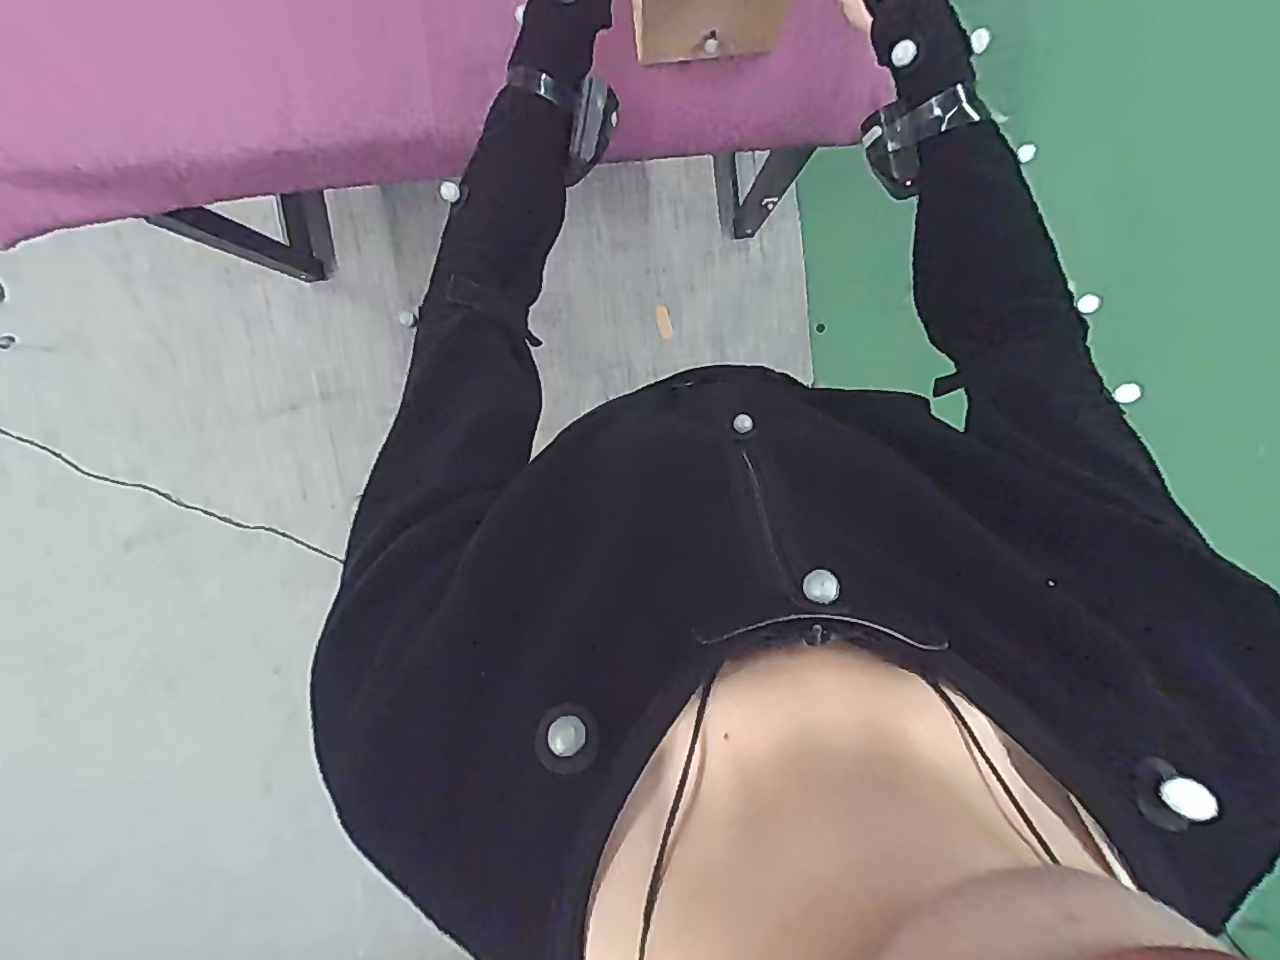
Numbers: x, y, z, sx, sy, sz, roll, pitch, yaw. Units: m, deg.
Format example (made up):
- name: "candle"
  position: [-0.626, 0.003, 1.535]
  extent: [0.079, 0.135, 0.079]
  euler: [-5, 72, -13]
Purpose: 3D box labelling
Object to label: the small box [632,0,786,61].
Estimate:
- name: "small box"
  position: [0.077, -0.612, 0.603]
  extent: [0.179, 0.176, 0.168]
  euler: [-6, 95, 1]
